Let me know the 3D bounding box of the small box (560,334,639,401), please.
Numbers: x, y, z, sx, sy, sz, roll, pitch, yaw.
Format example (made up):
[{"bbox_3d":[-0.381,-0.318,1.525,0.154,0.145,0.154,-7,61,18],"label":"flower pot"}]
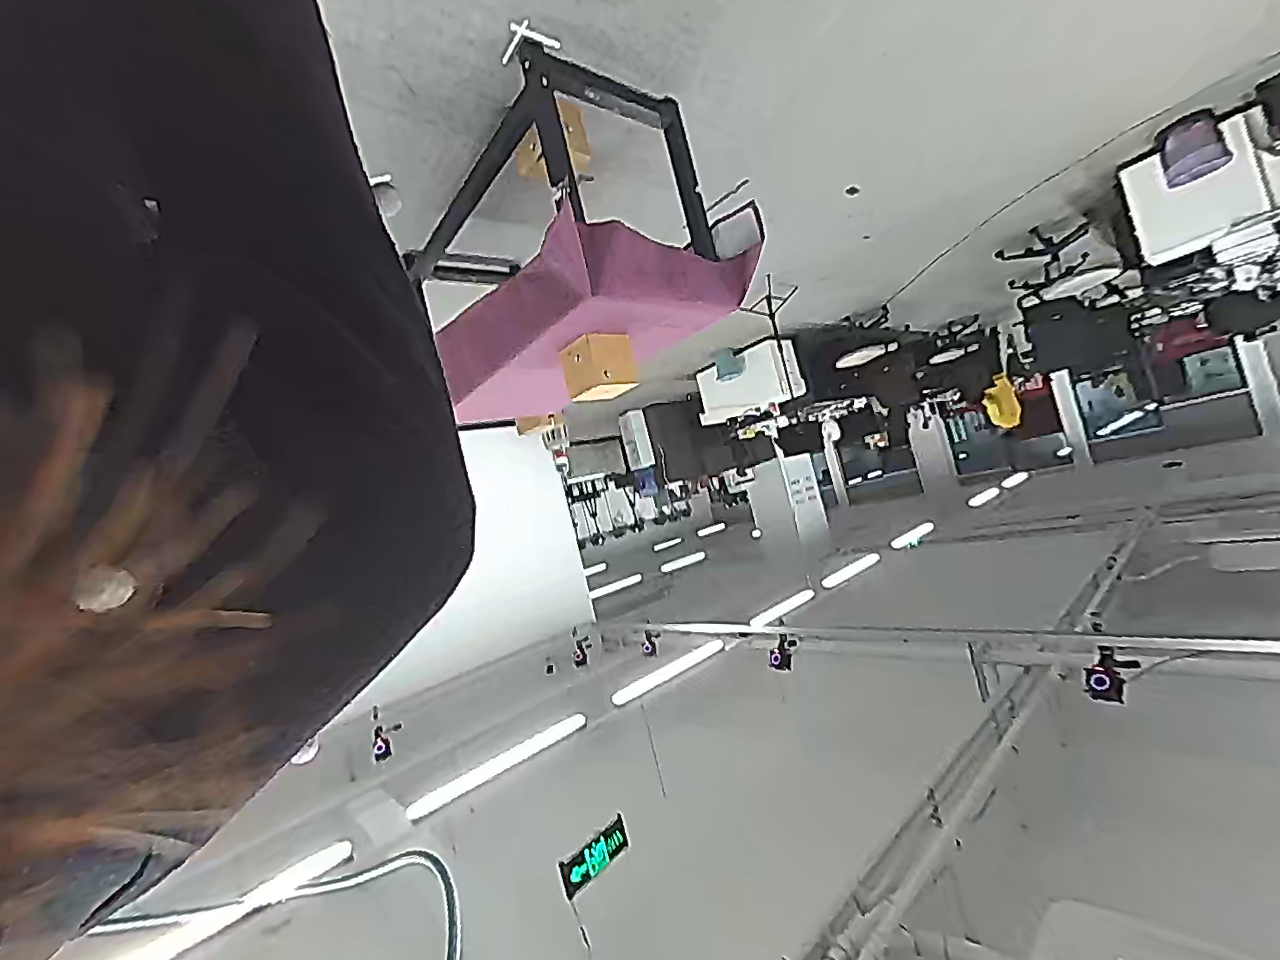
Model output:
[{"bbox_3d":[-0.133,-0.365,1.754,0.179,0.176,0.168,-12,177,-41],"label":"small box"}]
